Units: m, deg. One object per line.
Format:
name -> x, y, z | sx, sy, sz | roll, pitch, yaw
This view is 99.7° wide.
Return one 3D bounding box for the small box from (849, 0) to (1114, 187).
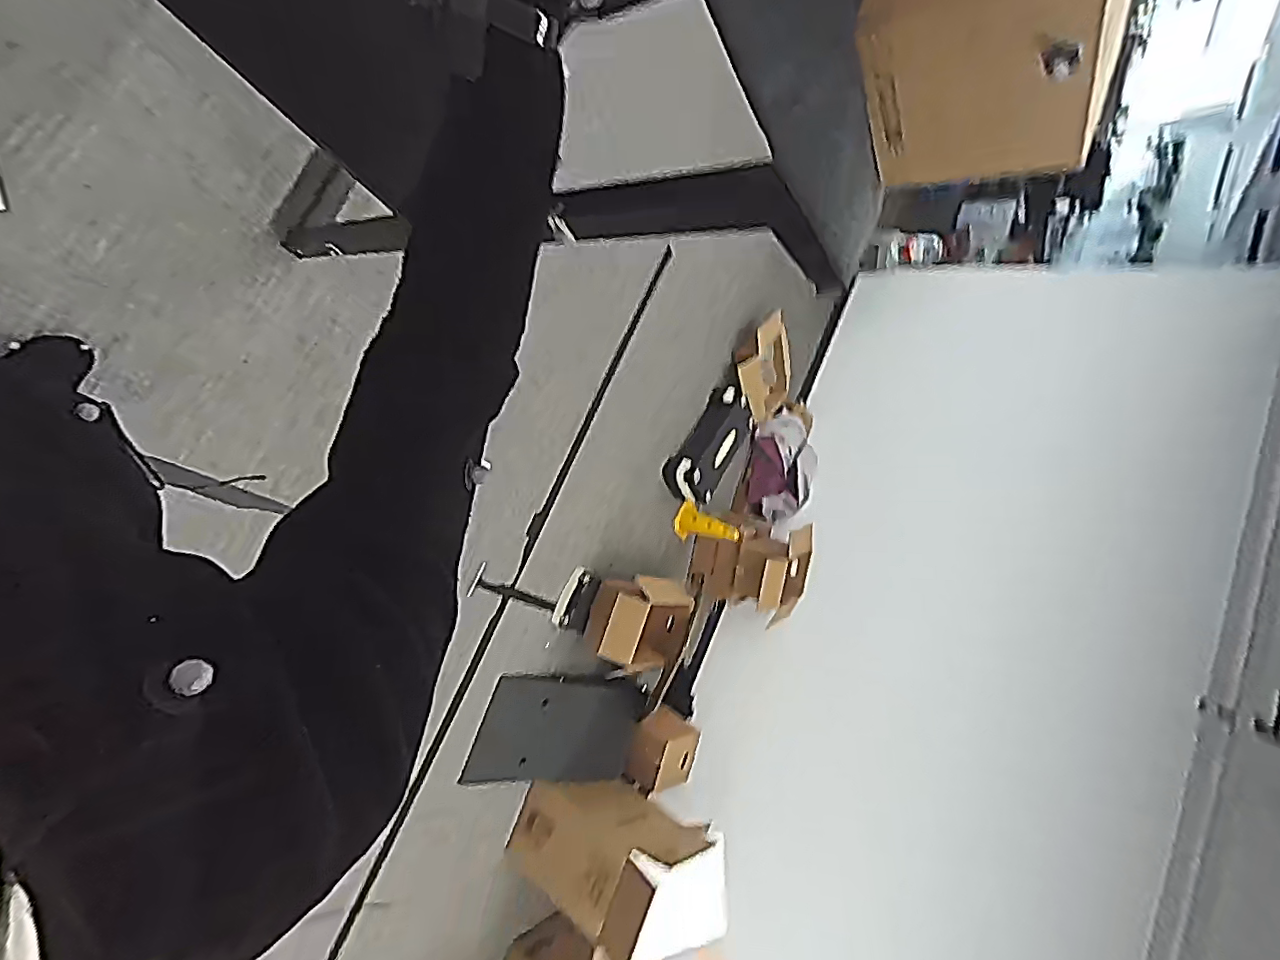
small box -> 0.299, -0.391, 0.470 | 0.168, 0.176, 0.179 | 36, 73, -51
